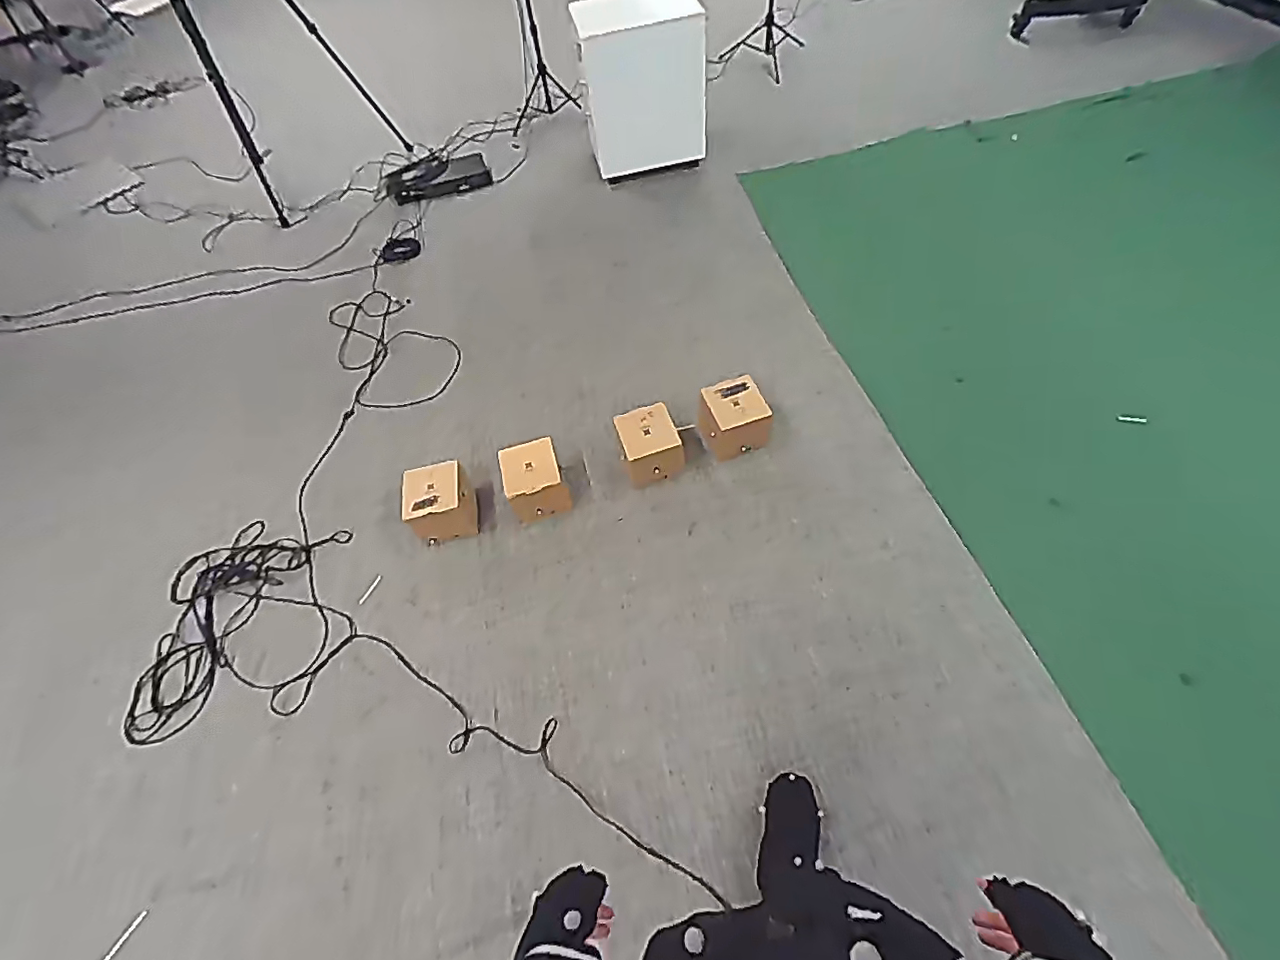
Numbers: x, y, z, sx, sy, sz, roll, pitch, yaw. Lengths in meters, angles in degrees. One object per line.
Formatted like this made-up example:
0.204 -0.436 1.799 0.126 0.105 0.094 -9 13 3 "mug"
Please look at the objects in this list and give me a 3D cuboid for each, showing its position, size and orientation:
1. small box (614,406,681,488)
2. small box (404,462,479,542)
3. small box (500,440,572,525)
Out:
0.027 -0.094 1.686 0.168 0.176 0.179 -17 58 -6 "small box"
-0.599 0.076 1.647 0.168 0.176 0.179 -12 57 -2 "small box"
-0.316 0.011 1.659 0.168 0.176 0.179 -17 58 -4 "small box"
